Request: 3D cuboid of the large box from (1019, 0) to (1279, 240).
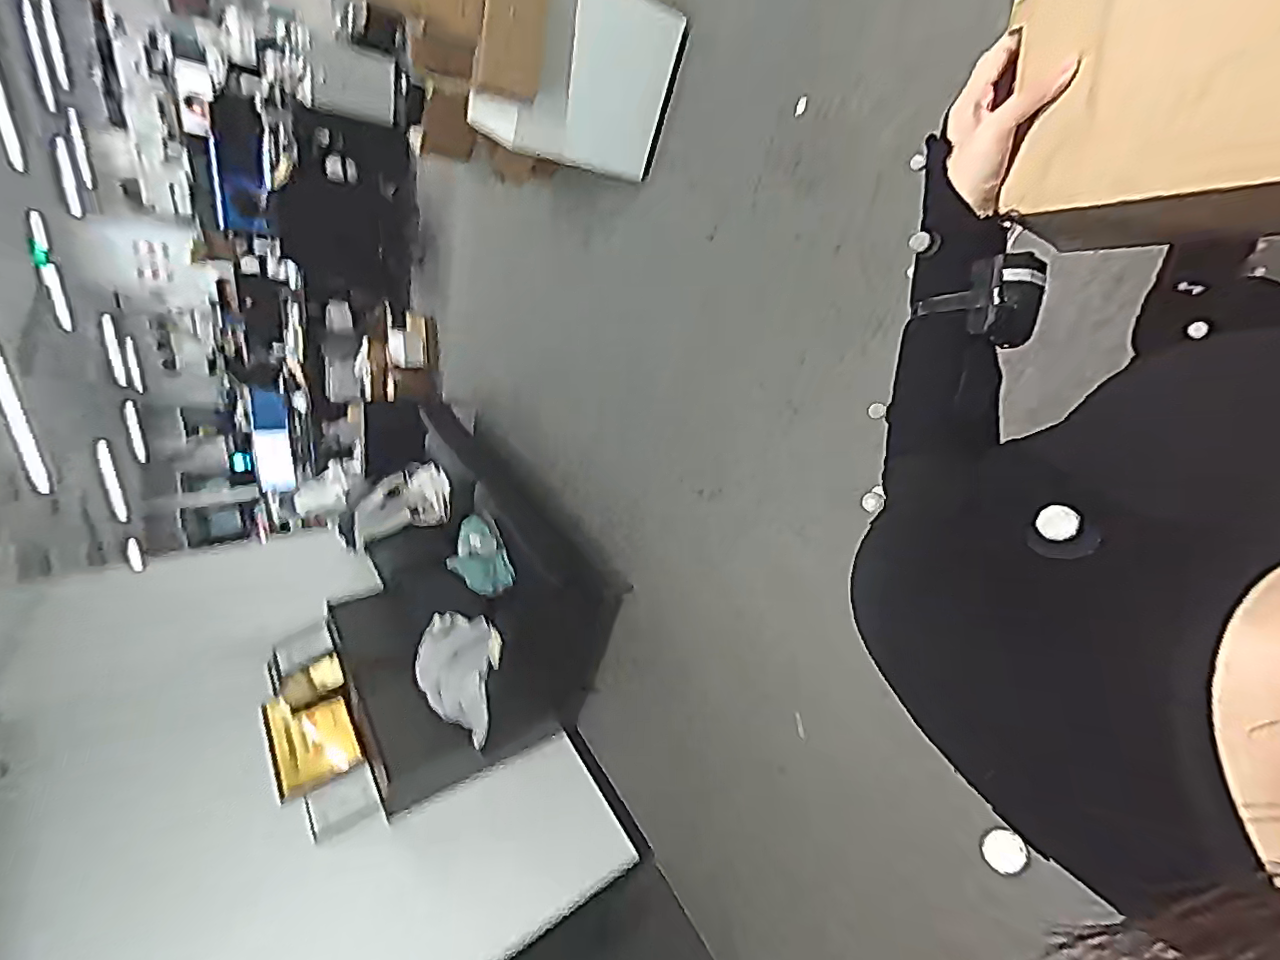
[{"bbox_3d":[0.536,-0.364,0.358,0.408,0.320,0.320,14,111,41],"label":"large box"}]
